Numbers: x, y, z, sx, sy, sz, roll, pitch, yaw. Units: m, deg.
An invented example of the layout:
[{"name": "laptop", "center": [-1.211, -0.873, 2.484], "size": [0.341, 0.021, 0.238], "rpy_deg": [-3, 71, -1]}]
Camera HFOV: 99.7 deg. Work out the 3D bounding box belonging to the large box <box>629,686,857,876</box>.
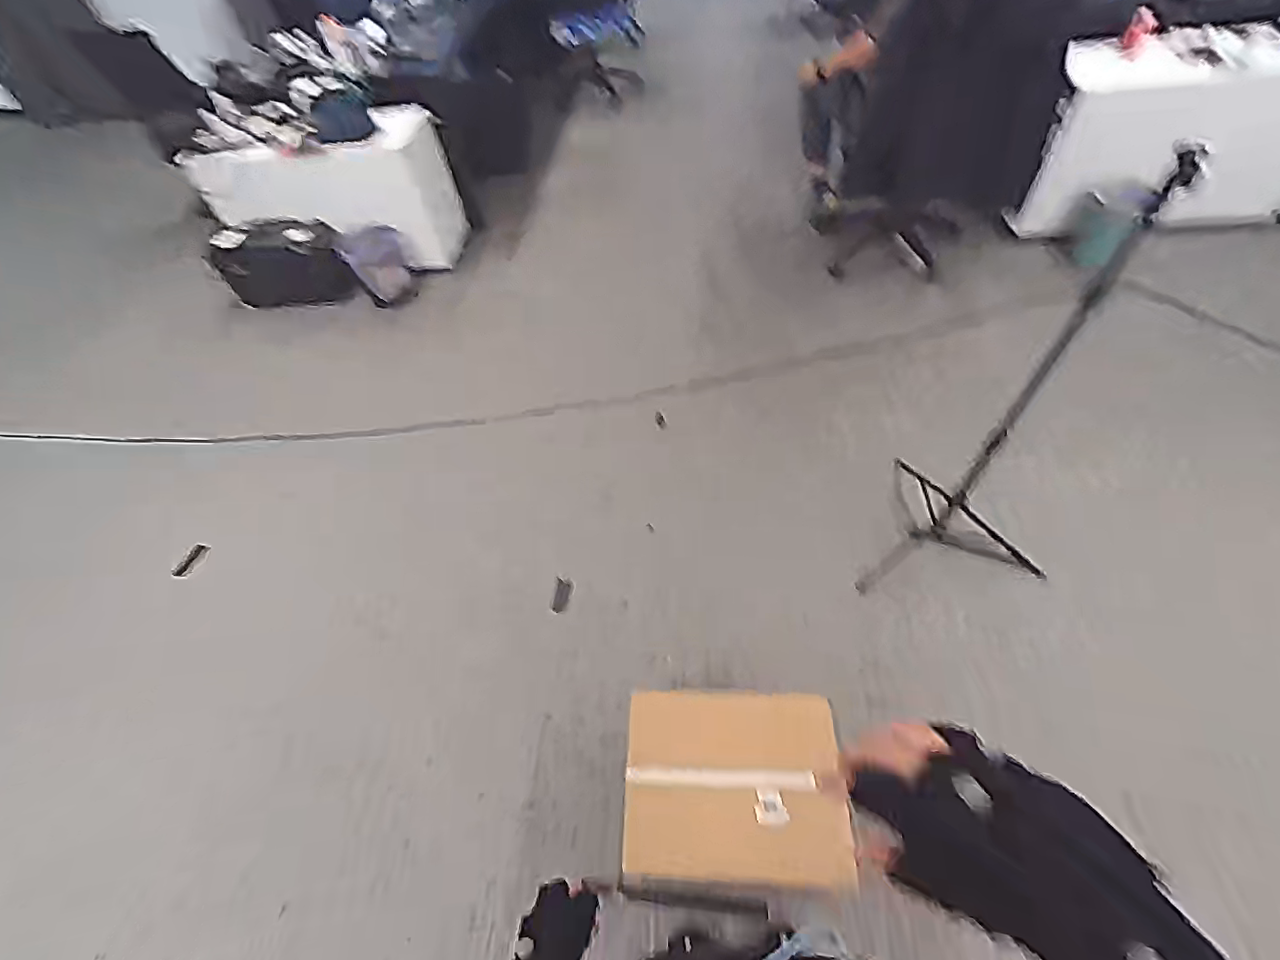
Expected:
[{"name": "large box", "center": [0.192, 0.643, 1.148], "size": [0.408, 0.320, 0.320], "rpy_deg": [-1, 54, 5]}]
